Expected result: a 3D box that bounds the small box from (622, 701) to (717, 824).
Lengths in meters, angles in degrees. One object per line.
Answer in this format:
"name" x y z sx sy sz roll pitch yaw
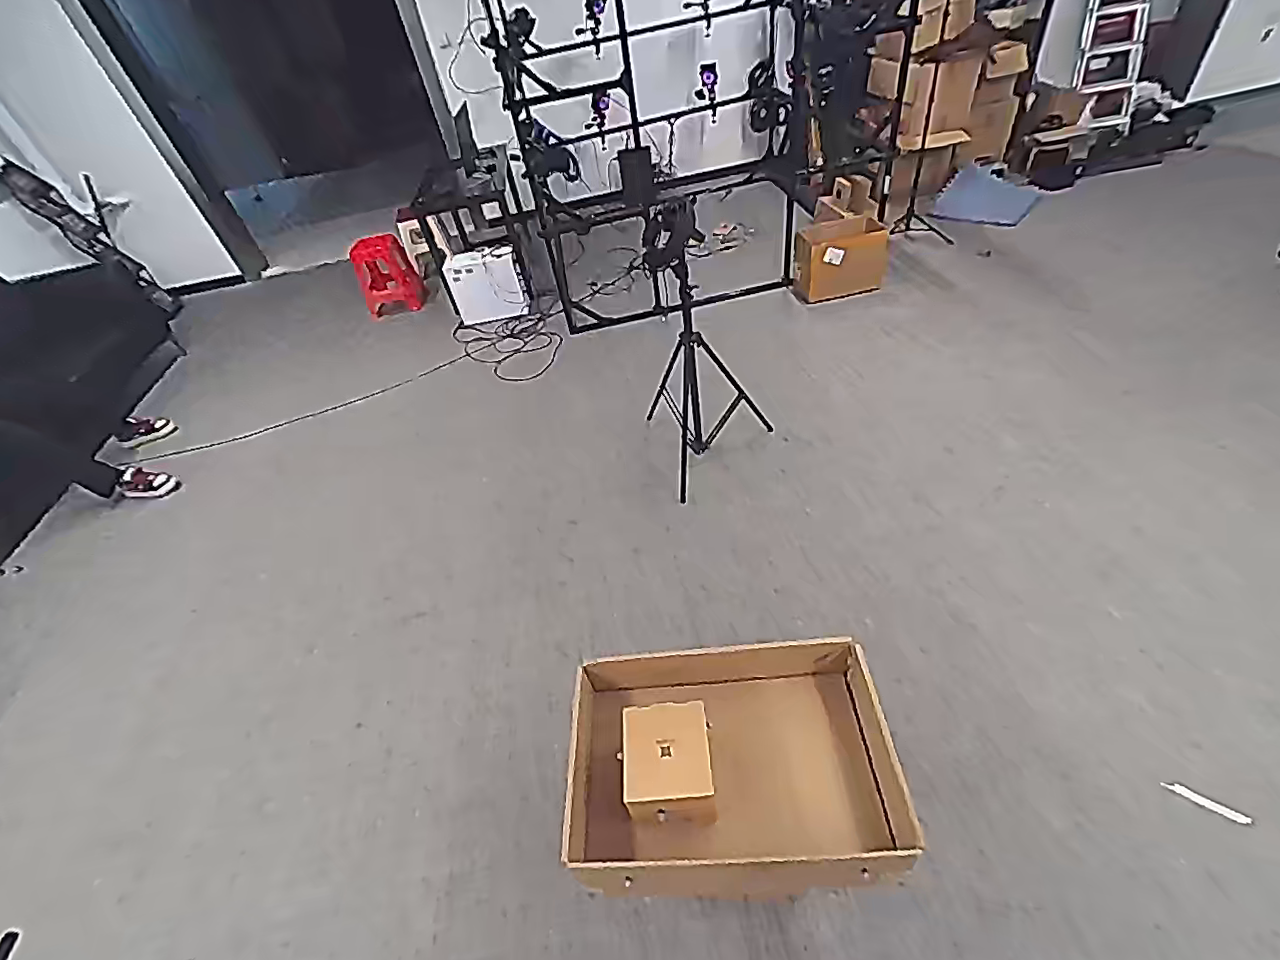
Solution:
"small box" 0.058 0.567 1.077 0.168 0.176 0.179 -8 42 4
